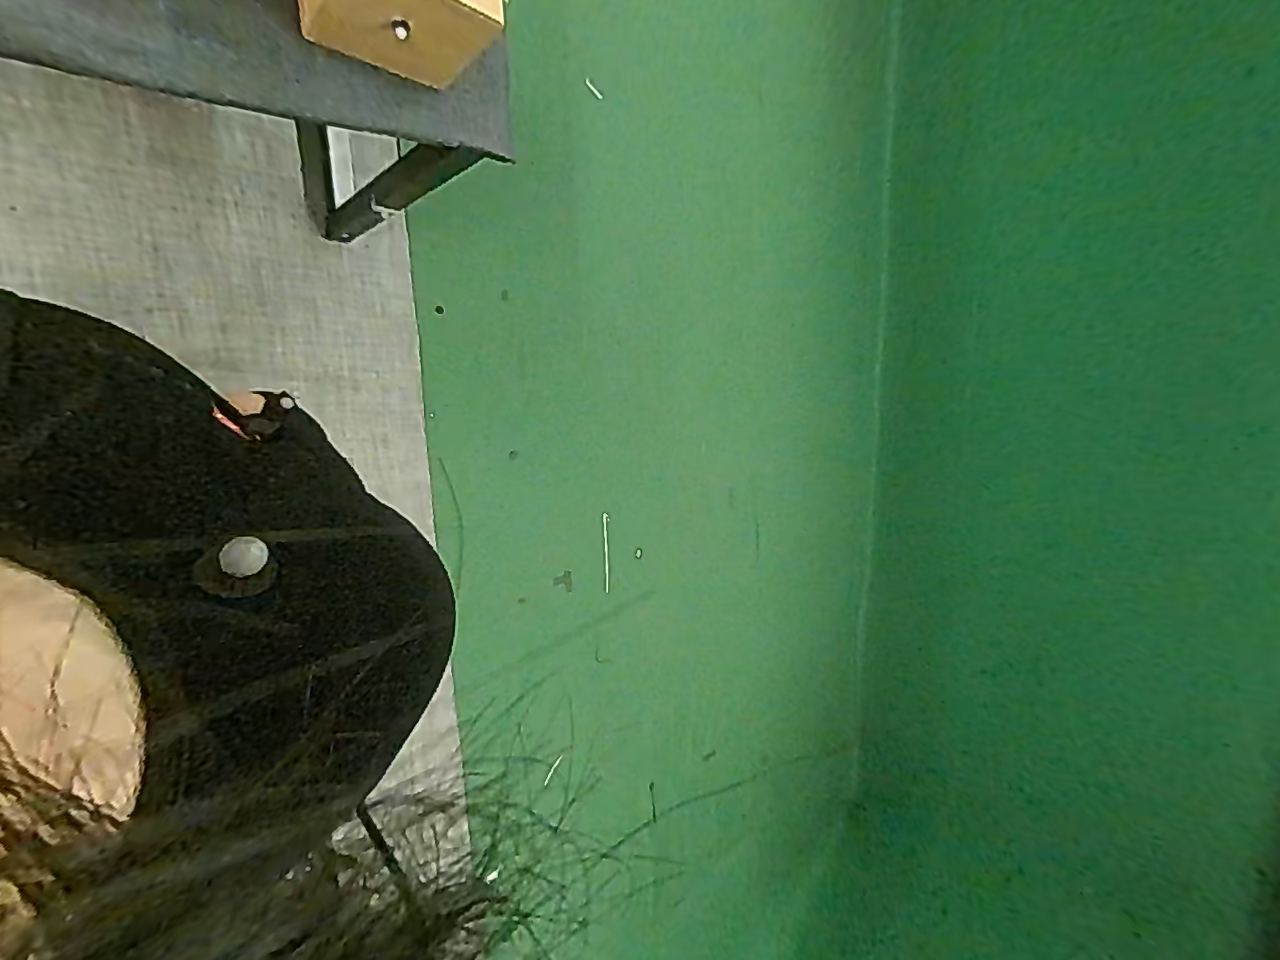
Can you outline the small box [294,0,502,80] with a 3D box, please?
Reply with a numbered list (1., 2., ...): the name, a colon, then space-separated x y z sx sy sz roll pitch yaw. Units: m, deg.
1. small box: -0.281 -0.605 0.619 0.179 0.176 0.168 -9 99 -43
